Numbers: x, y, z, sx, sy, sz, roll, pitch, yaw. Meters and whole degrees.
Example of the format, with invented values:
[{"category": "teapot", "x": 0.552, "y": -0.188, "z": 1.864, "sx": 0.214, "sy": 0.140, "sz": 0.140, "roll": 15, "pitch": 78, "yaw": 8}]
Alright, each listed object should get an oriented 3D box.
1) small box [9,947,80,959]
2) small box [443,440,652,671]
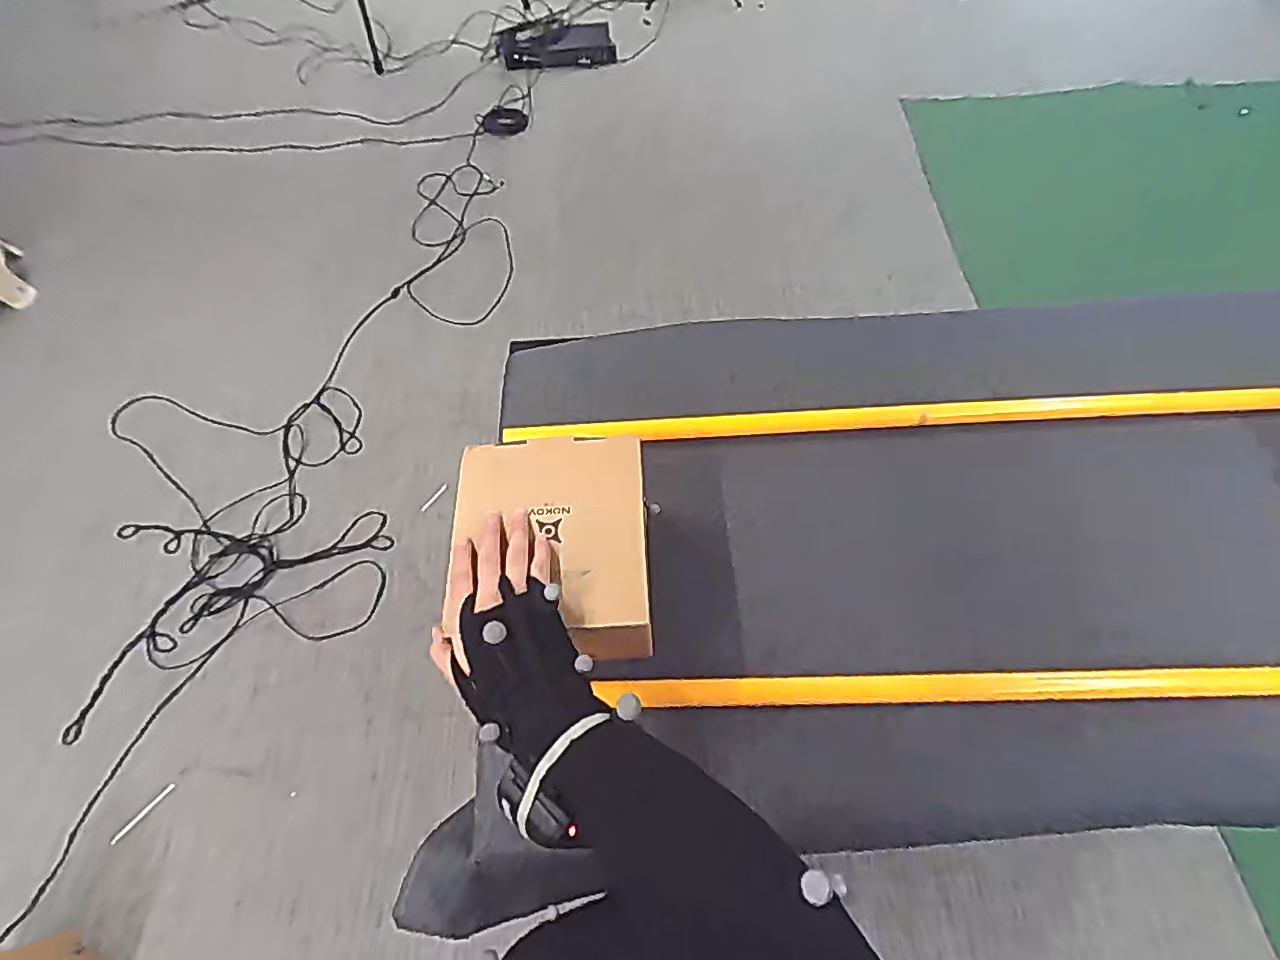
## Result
[{"category": "small box", "x": -1.092, "y": 0.958, "z": 0.922, "sx": 0.168, "sy": 0.176, "sz": 0.179, "roll": 21, "pitch": 65, "yaw": 13}, {"category": "small box", "x": -0.075, "y": 0.080, "z": 0.530, "sx": 0.168, "sy": 0.176, "sz": 0.179, "roll": -4, "pitch": 63, "yaw": 1}]
